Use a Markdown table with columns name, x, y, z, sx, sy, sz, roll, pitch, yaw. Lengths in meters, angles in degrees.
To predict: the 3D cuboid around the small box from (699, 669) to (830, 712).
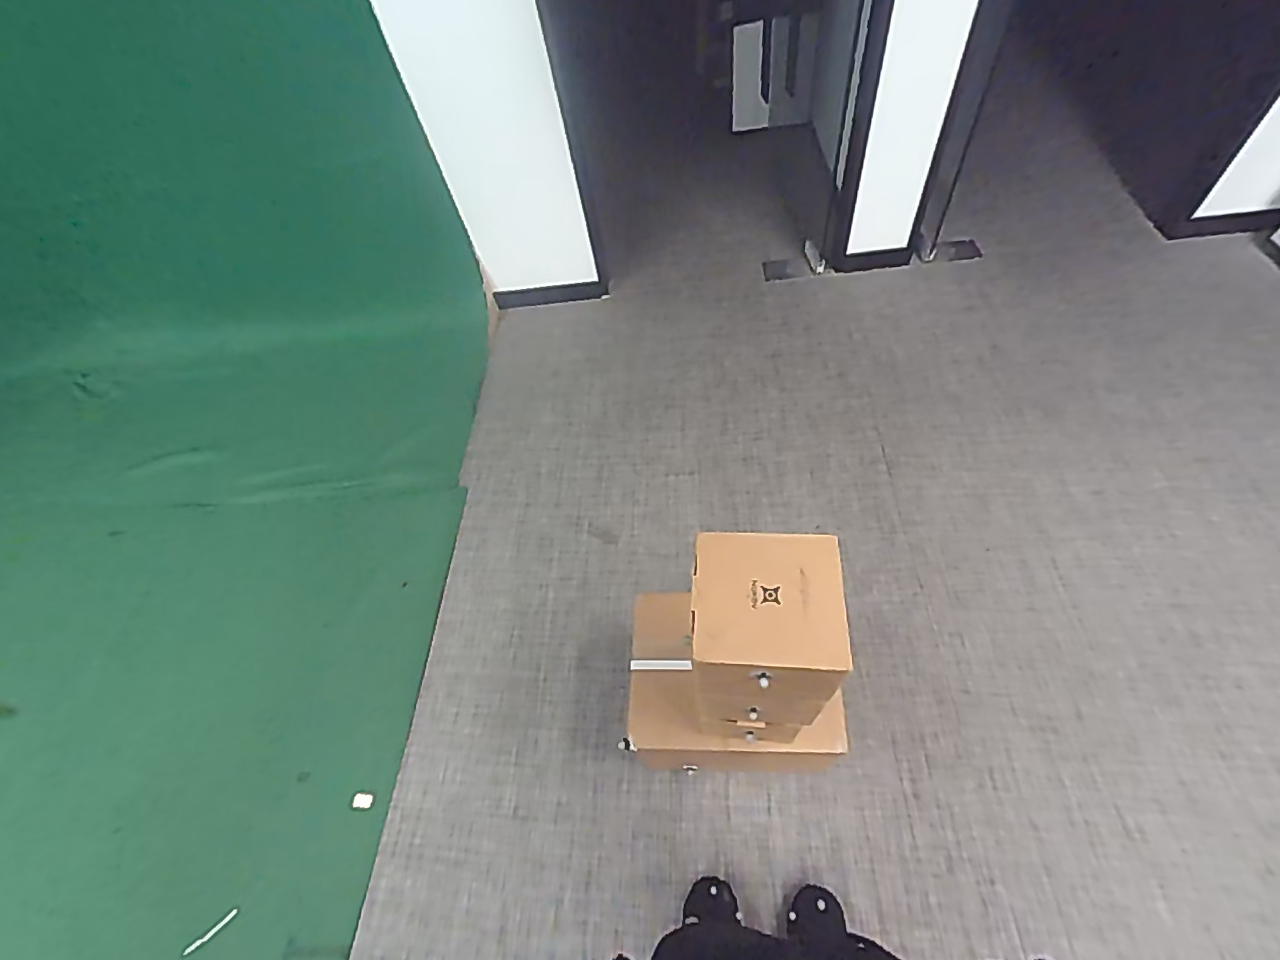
| name | x | y | z | sx | sy | sz | roll | pitch | yaw |
| --- | --- | --- | --- | --- | --- | --- | --- | --- | --- |
| small box | 0.186 | 0.257 | 0.839 | 0.179 | 0.176 | 0.168 | -1 | 57 | 11 |

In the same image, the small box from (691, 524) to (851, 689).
| name | x | y | z | sx | sy | sz | roll | pitch | yaw |
| --- | --- | --- | --- | --- | --- | --- | --- | --- | --- |
| small box | 0.162 | 0.168 | 0.705 | 0.179 | 0.176 | 0.168 | -1 | 58 | 9 |

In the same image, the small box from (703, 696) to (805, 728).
| name | x | y | z | sx | sy | sz | roll | pitch | yaw |
| --- | --- | --- | --- | --- | --- | --- | --- | --- | --- |
| small box | 0.205 | 0.343 | 0.978 | 0.168 | 0.176 | 0.179 | -1 | 58 | 10 |
